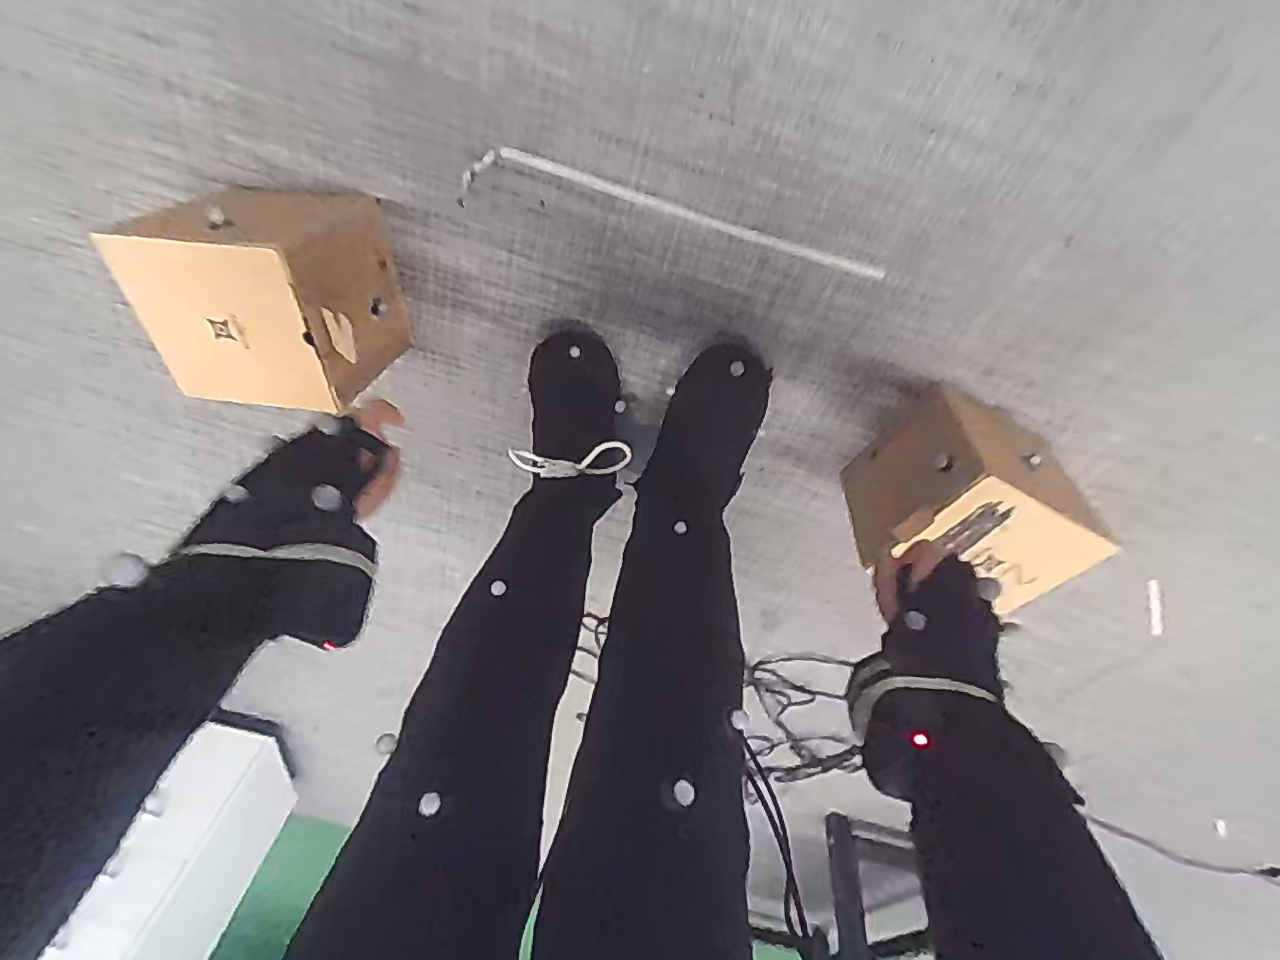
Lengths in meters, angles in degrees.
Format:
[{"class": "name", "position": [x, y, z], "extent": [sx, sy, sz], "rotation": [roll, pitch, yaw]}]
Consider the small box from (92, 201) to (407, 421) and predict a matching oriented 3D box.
[{"class": "small box", "position": [-0.380, -0.183, 0.568], "extent": [0.179, 0.176, 0.168], "rotation": [6, 130, 4]}]
